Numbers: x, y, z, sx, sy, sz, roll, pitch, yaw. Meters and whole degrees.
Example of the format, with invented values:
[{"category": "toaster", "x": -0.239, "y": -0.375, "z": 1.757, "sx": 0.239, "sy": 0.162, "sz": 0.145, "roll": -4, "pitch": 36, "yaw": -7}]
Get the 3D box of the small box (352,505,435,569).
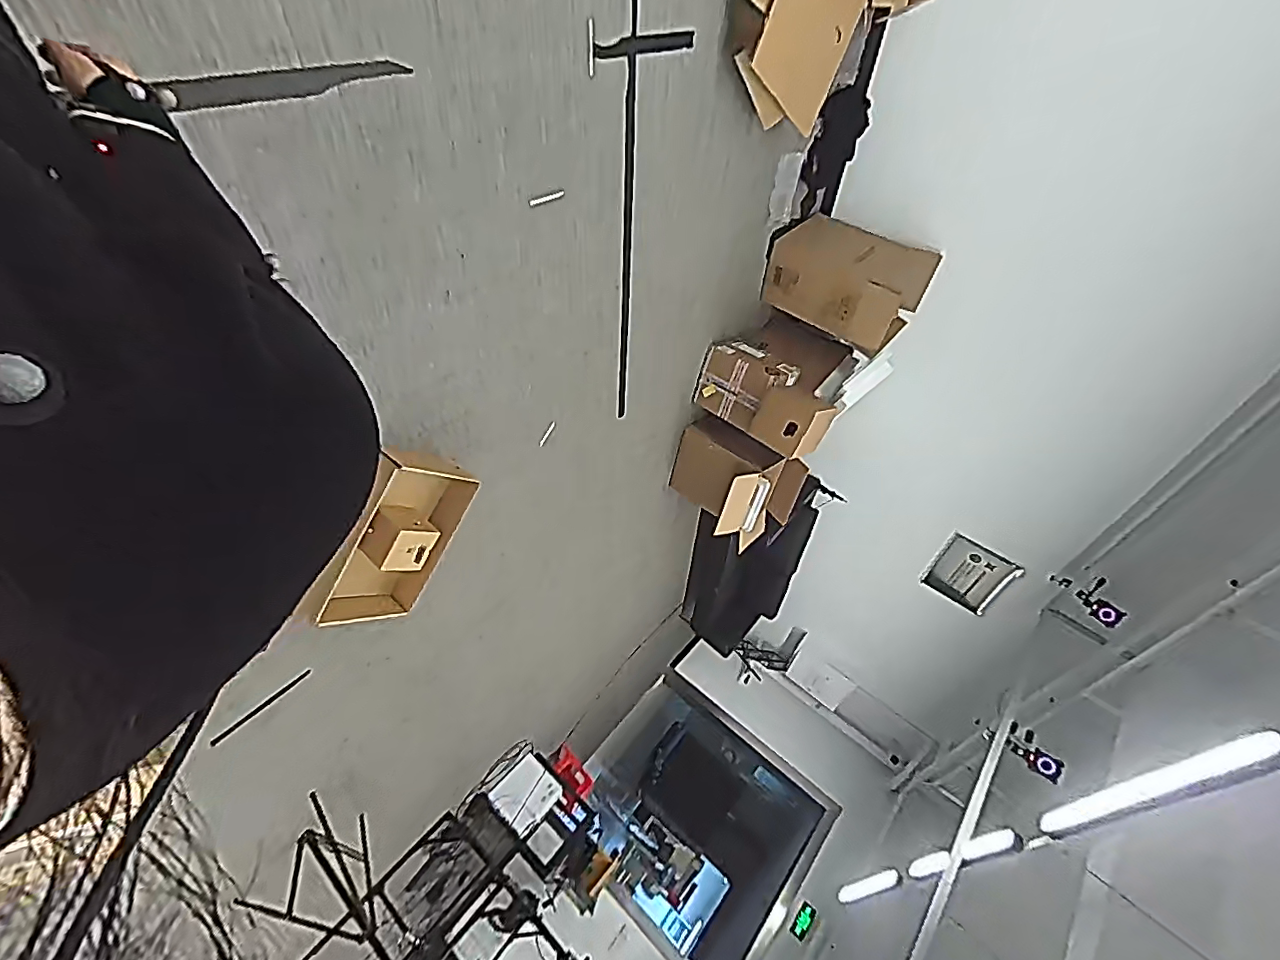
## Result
[{"category": "small box", "x": -0.879, "y": 0.201, "z": 1.930, "sx": 0.168, "sy": 0.176, "sz": 0.179, "roll": -59, "pitch": 155, "yaw": 7}]
